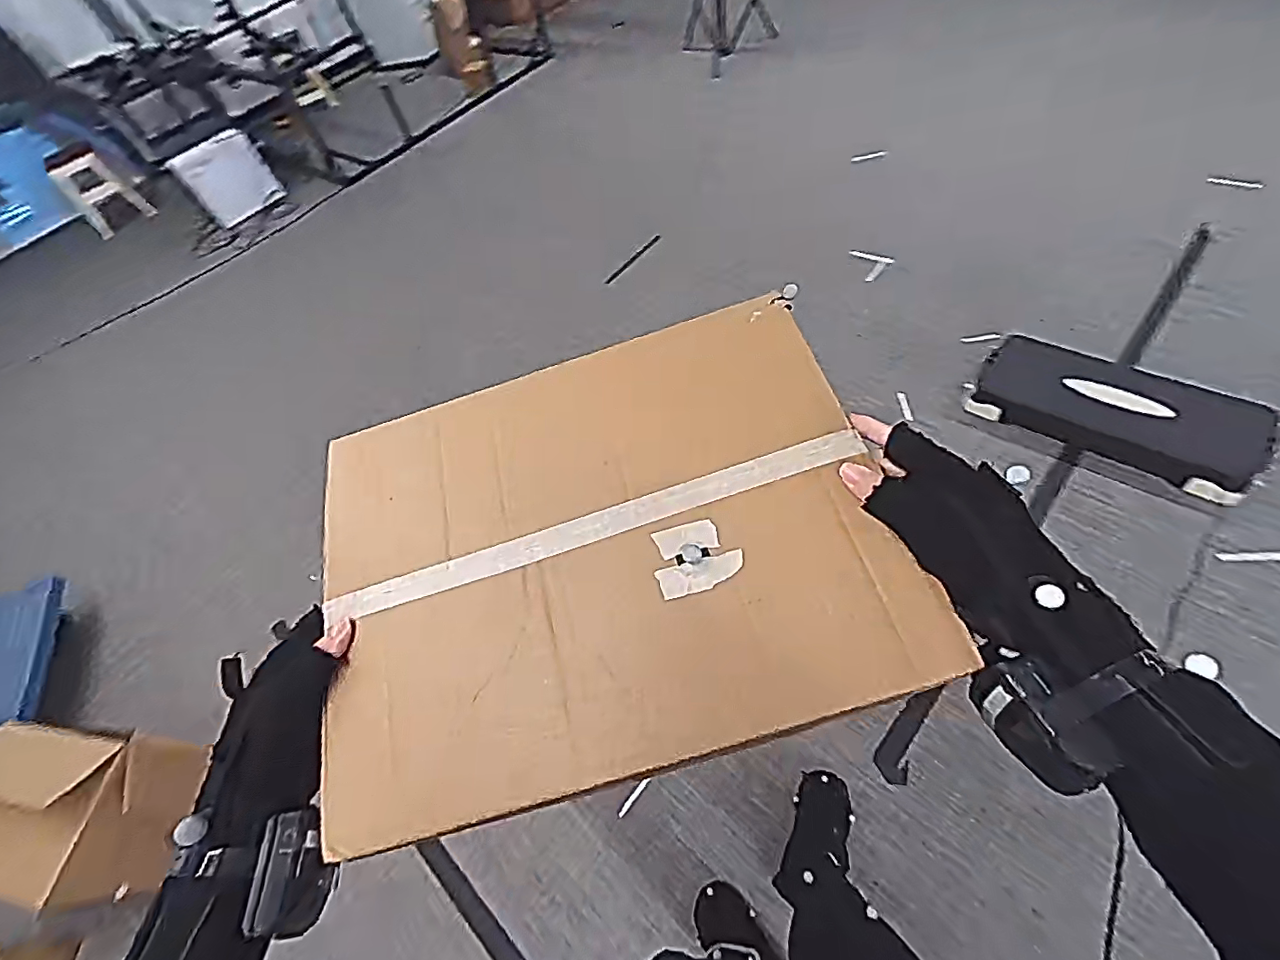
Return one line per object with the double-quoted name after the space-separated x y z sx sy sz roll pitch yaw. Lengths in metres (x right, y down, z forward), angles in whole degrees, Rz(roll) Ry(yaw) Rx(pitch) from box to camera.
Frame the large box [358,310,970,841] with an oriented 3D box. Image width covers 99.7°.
0.001 0.106 0.533 0.408 0.320 0.320 -17 62 2 "large box"
